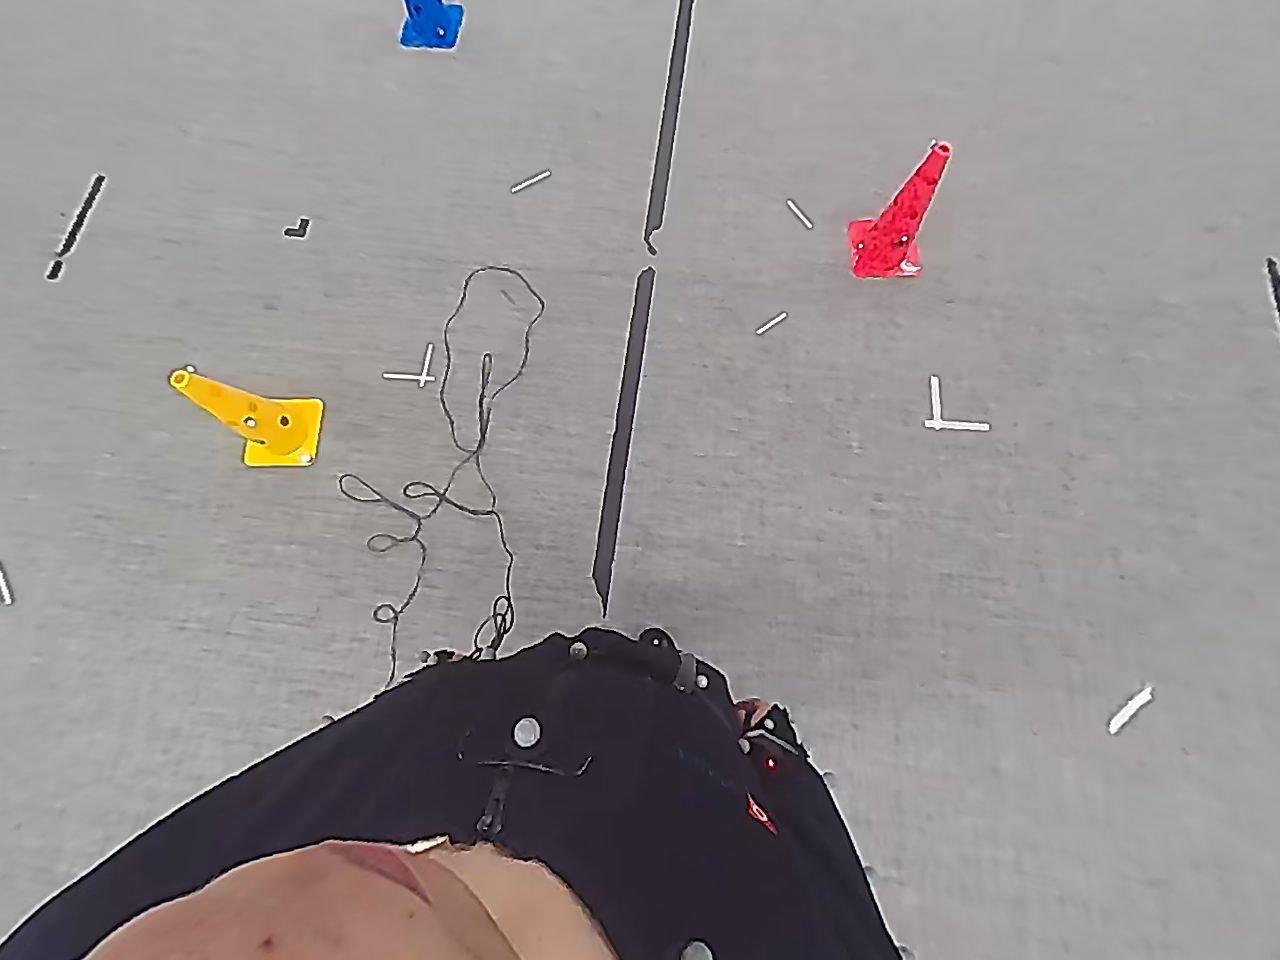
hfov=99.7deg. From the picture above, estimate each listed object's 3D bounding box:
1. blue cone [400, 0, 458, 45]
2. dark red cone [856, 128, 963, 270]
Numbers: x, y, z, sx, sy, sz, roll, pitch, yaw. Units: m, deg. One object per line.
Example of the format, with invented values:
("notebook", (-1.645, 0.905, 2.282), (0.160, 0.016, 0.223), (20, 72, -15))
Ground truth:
("blue cone", (-0.749, -1.644, 1.739), (0.192, 0.380, 0.193), (7, 75, 5))
("dark red cone", (0.733, -0.747, 1.427), (0.201, 0.394, 0.202), (-1, 75, 3))
